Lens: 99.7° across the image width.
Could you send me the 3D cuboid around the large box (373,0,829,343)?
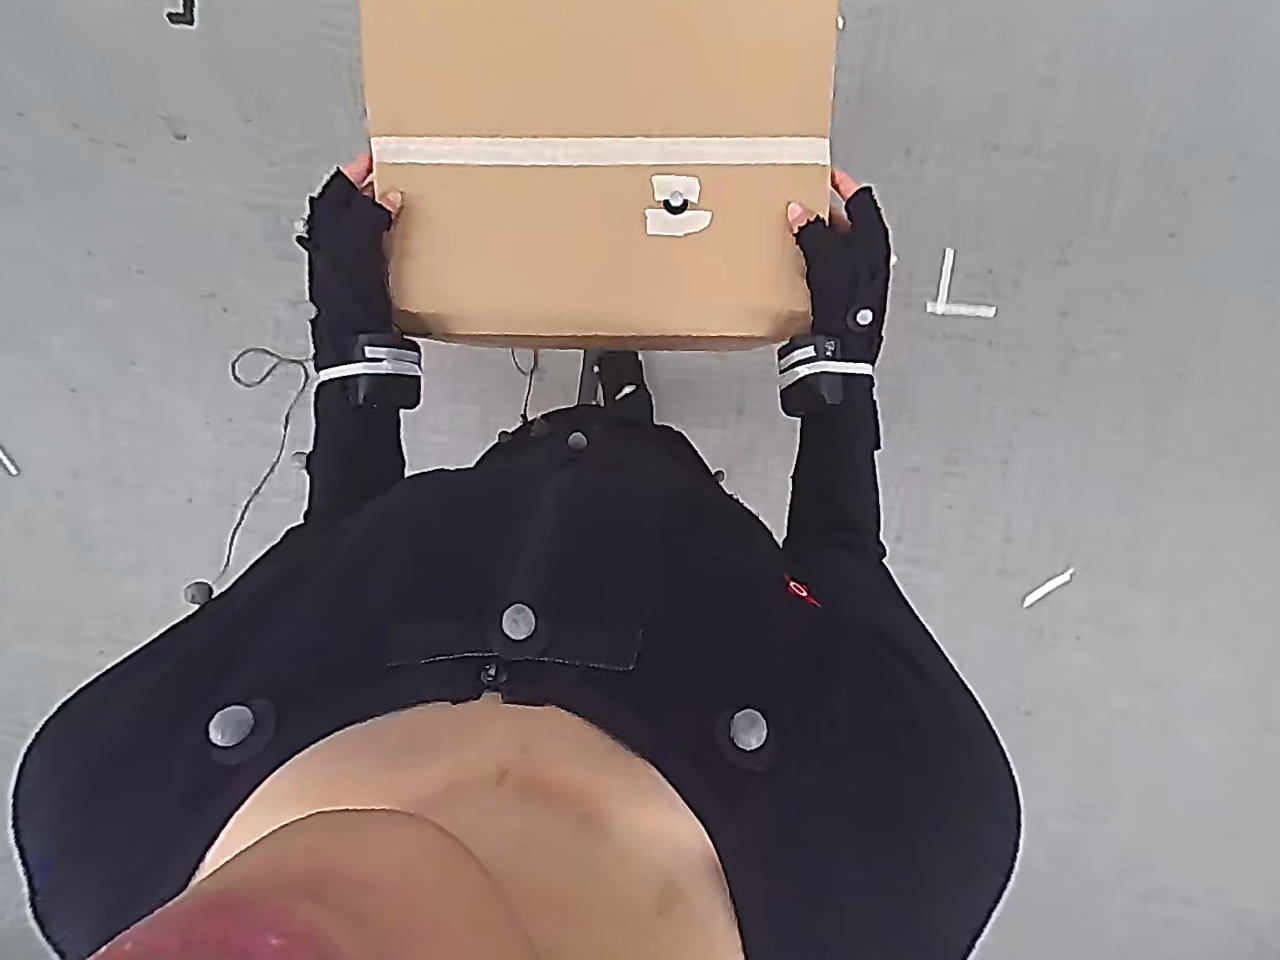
[{"bbox_3d":[-0.035,-0.333,0.636,0.408,0.320,0.320,0,101,-1],"label":"large box"}]
